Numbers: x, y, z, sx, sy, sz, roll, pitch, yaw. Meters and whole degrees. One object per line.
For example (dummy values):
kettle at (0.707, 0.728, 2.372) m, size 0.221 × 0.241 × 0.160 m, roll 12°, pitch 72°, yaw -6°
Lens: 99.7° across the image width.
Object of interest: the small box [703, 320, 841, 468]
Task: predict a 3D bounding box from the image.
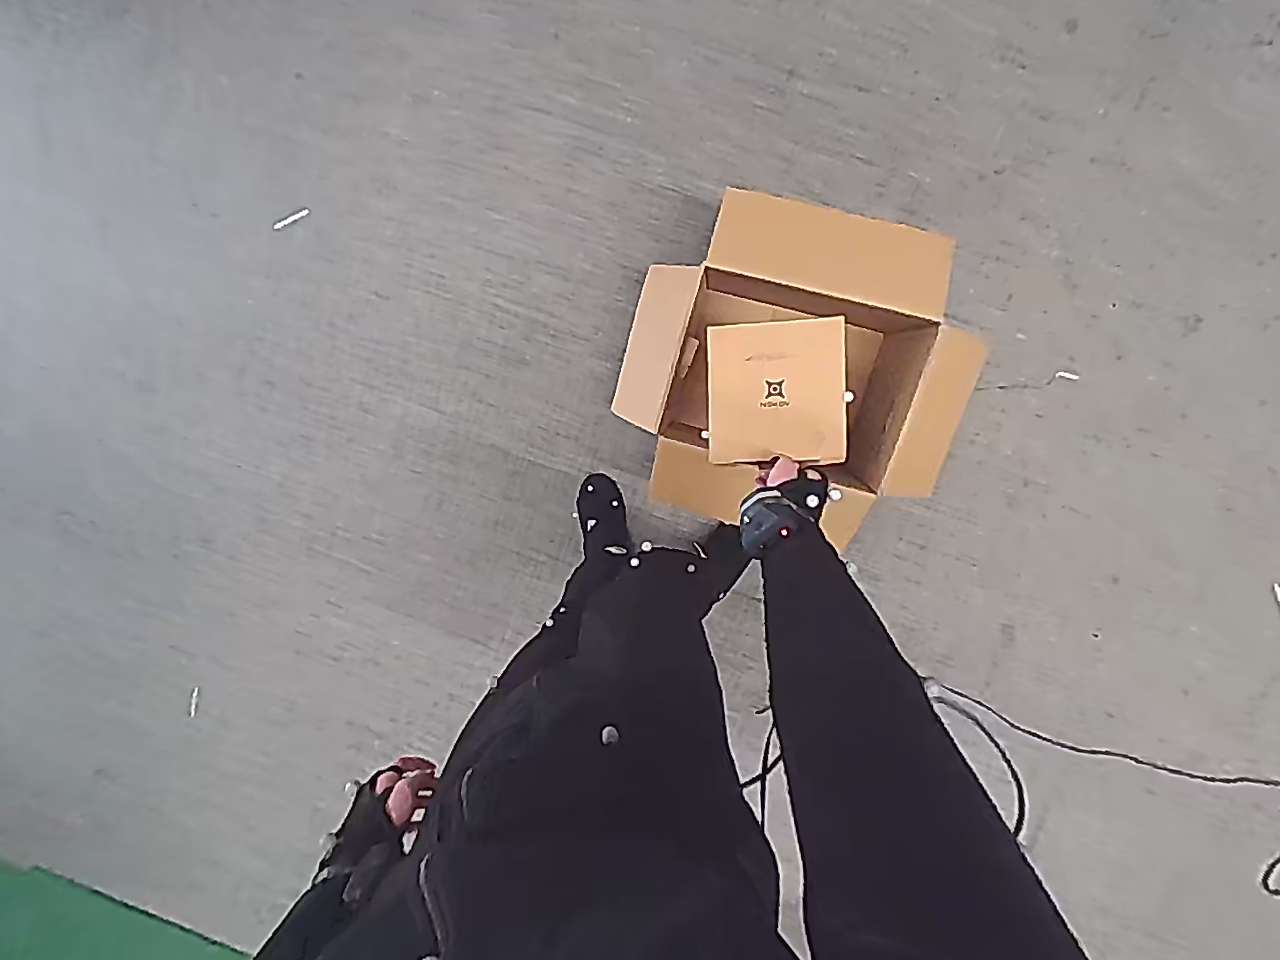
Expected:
small box at (0.178, -0.106, 0.748) m, size 0.168 × 0.176 × 0.179 m, roll -3°, pitch 89°, yaw 11°
